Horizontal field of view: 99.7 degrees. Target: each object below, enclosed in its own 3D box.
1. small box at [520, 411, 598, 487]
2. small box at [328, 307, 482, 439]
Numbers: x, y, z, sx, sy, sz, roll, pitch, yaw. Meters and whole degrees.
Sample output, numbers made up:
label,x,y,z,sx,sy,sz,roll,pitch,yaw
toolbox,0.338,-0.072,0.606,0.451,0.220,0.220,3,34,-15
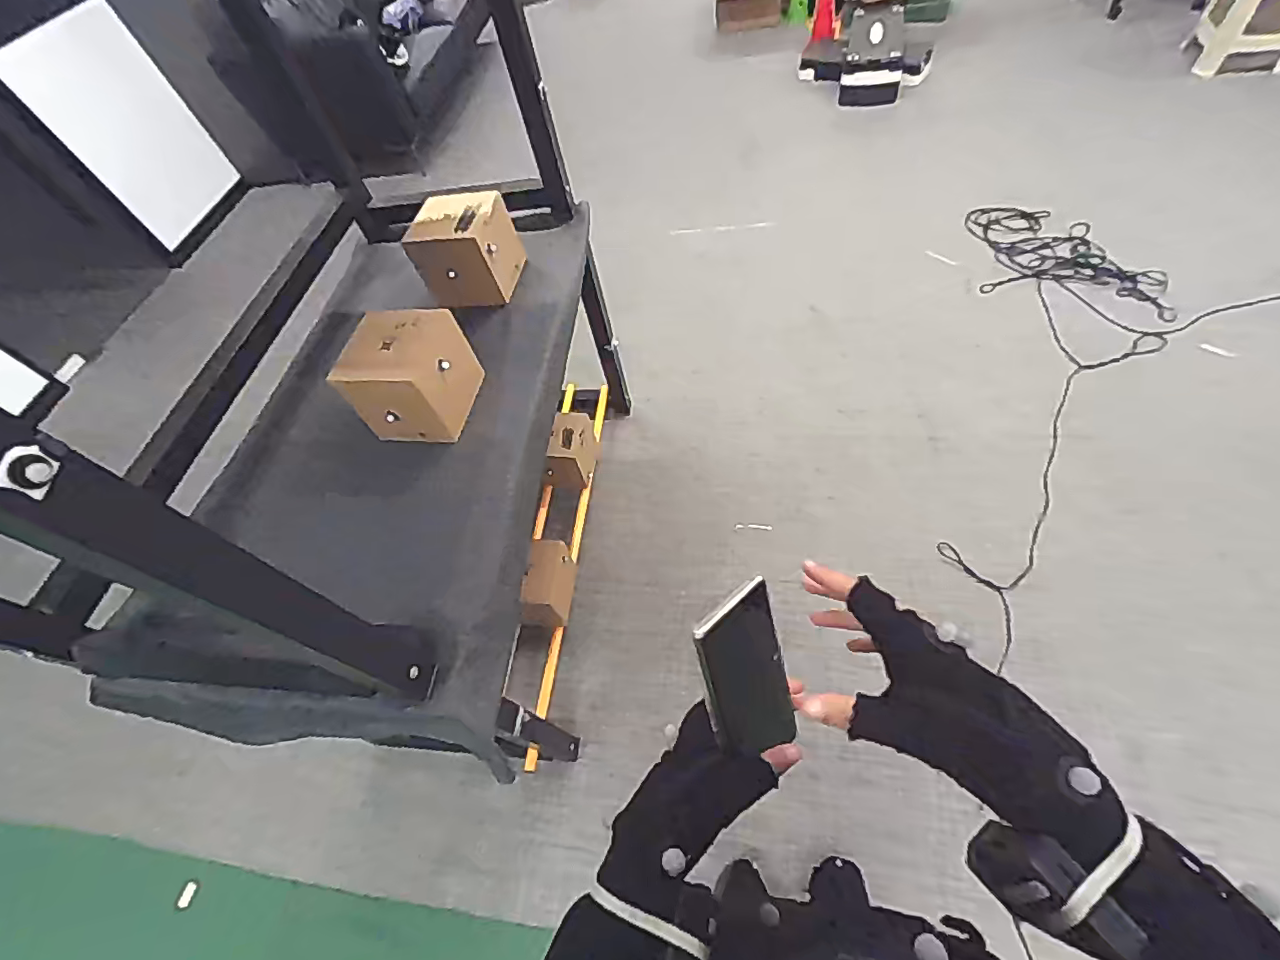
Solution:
label,x,y,z,sx,sy,sz,roll,pitch,yaw
small box,-0.237,-0.090,1.642,0.179,0.176,0.168,4,57,13
small box,-0.412,-0.191,0.986,0.168,0.176,0.179,3,57,12
